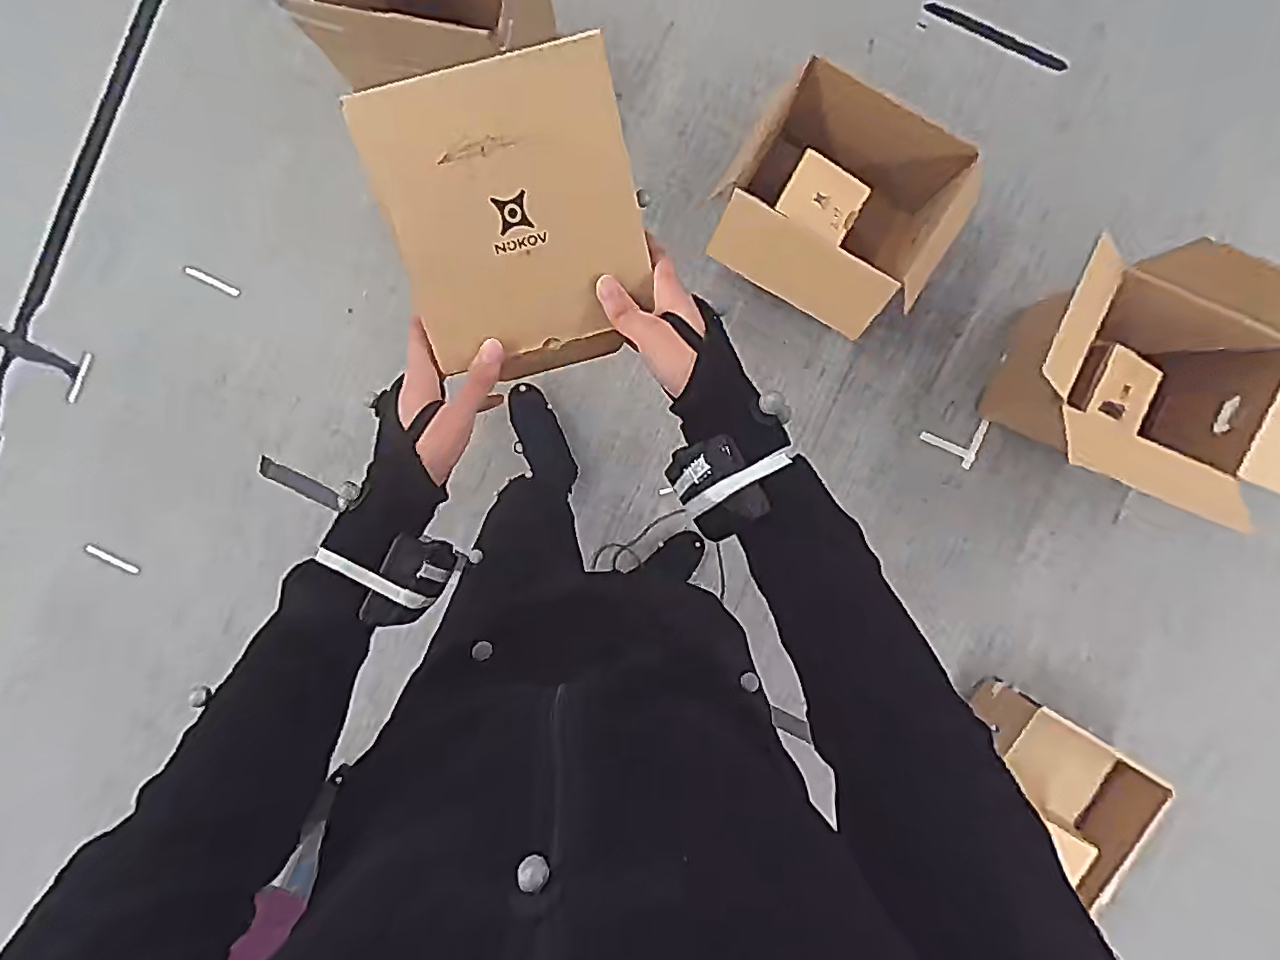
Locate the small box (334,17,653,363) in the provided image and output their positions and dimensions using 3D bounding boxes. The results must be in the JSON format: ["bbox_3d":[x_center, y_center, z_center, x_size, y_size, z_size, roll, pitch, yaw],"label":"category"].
[{"bbox_3d":[-0.093,-0.210,0.428,0.168,0.176,0.179,-15,112,0],"label":"small box"}]
